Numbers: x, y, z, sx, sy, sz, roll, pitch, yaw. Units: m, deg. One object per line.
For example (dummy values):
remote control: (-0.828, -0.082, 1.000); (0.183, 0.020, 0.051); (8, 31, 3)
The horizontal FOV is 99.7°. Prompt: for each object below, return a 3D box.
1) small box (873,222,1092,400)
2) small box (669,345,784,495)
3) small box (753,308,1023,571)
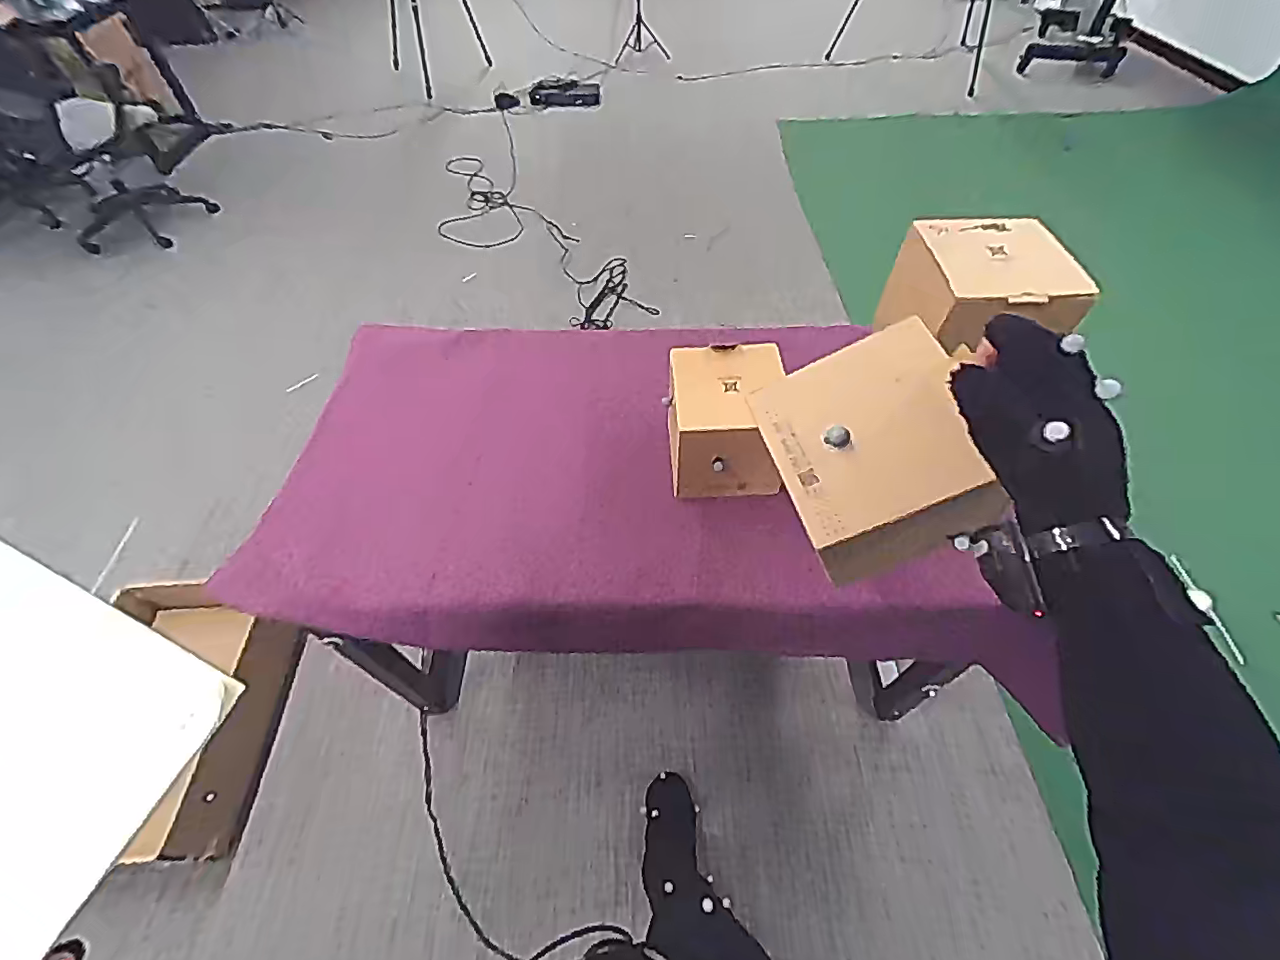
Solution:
small box: (0.440, -0.224, 0.733); (0.168, 0.176, 0.179); (0, 54, 1)
small box: (0.133, -0.087, 0.847); (0.168, 0.176, 0.179); (-3, 52, 0)
small box: (0.227, -0.024, 0.533); (0.176, 0.179, 0.168); (-26, 62, 14)
